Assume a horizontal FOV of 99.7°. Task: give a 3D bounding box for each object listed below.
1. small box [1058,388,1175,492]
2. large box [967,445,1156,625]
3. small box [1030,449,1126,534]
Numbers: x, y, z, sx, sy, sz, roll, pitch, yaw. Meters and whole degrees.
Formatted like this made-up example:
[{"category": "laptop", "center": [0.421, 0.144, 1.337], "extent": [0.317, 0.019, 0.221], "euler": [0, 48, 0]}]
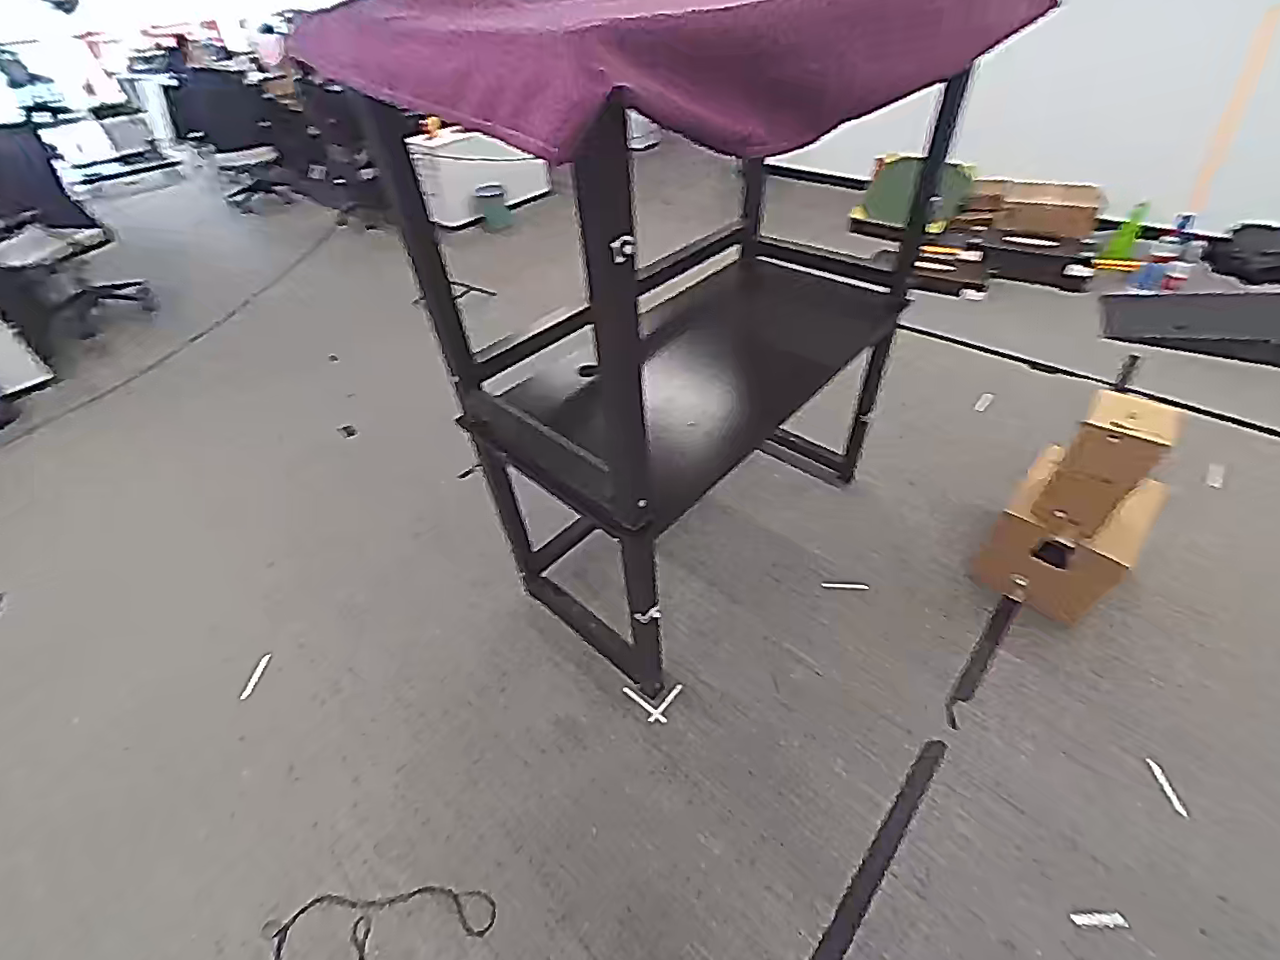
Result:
[{"category": "small box", "center": [1.207, -0.103, 1.379], "extent": [0.168, 0.176, 0.179], "euler": [26, 51, 31]}, {"category": "large box", "center": [1.296, 0.163, 1.684], "extent": [0.320, 0.320, 0.408], "euler": [33, 54, 31]}, {"category": "small box", "center": [1.219, 0.015, 1.492], "extent": [0.168, 0.176, 0.179], "euler": [30, 54, 32]}]
